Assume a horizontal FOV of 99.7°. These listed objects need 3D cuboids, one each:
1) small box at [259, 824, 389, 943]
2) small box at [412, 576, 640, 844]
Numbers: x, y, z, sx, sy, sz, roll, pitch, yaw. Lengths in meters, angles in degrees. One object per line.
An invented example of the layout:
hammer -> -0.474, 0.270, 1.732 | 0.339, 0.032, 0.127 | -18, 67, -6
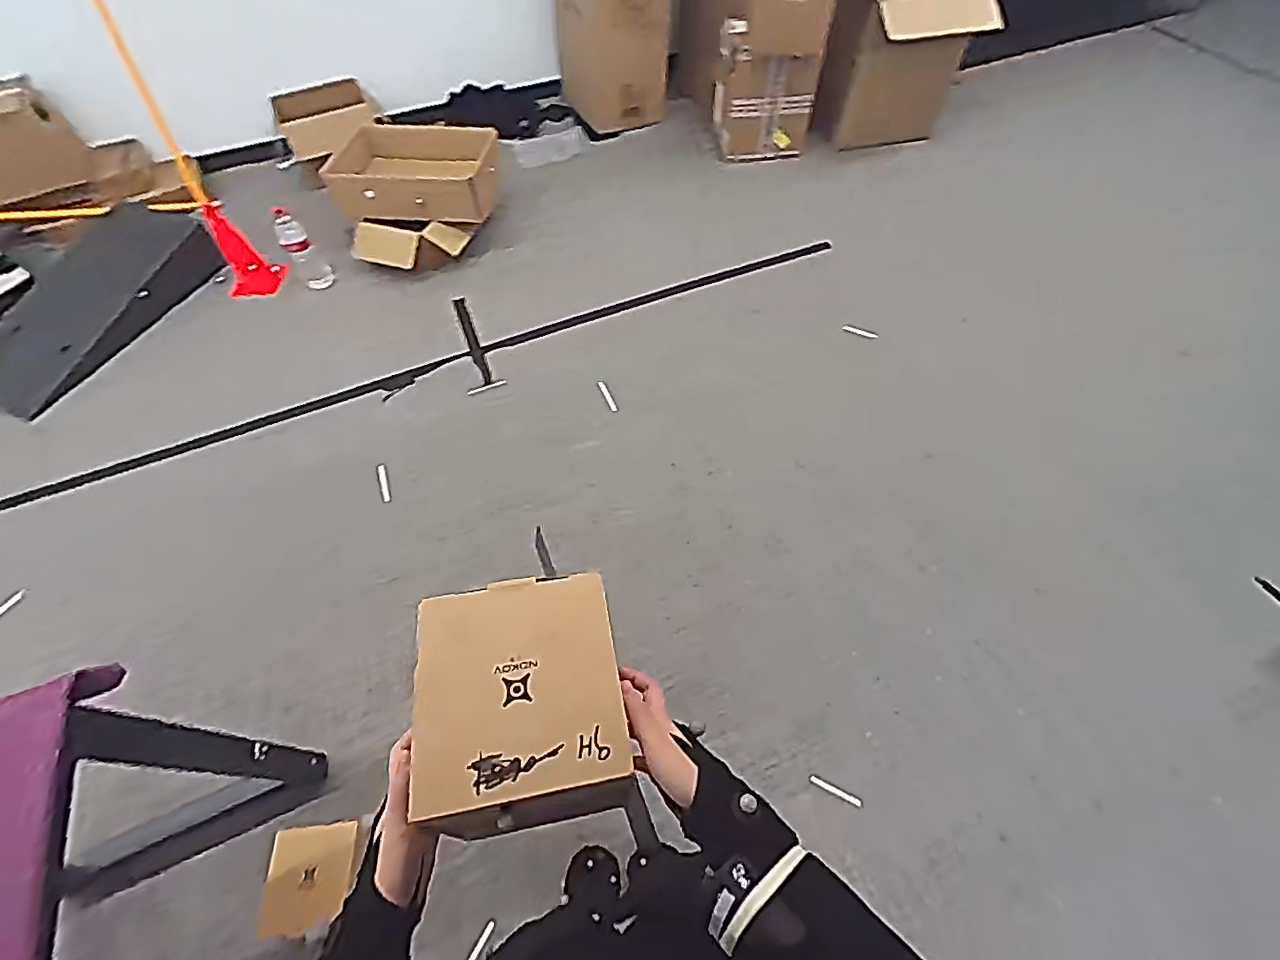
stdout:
small box -> -0.646, 0.834, 1.133 | 0.168, 0.176, 0.179 | -6, 59, -3
small box -> -0.097, 0.215, 0.503 | 0.168, 0.176, 0.179 | -7, 53, -7
